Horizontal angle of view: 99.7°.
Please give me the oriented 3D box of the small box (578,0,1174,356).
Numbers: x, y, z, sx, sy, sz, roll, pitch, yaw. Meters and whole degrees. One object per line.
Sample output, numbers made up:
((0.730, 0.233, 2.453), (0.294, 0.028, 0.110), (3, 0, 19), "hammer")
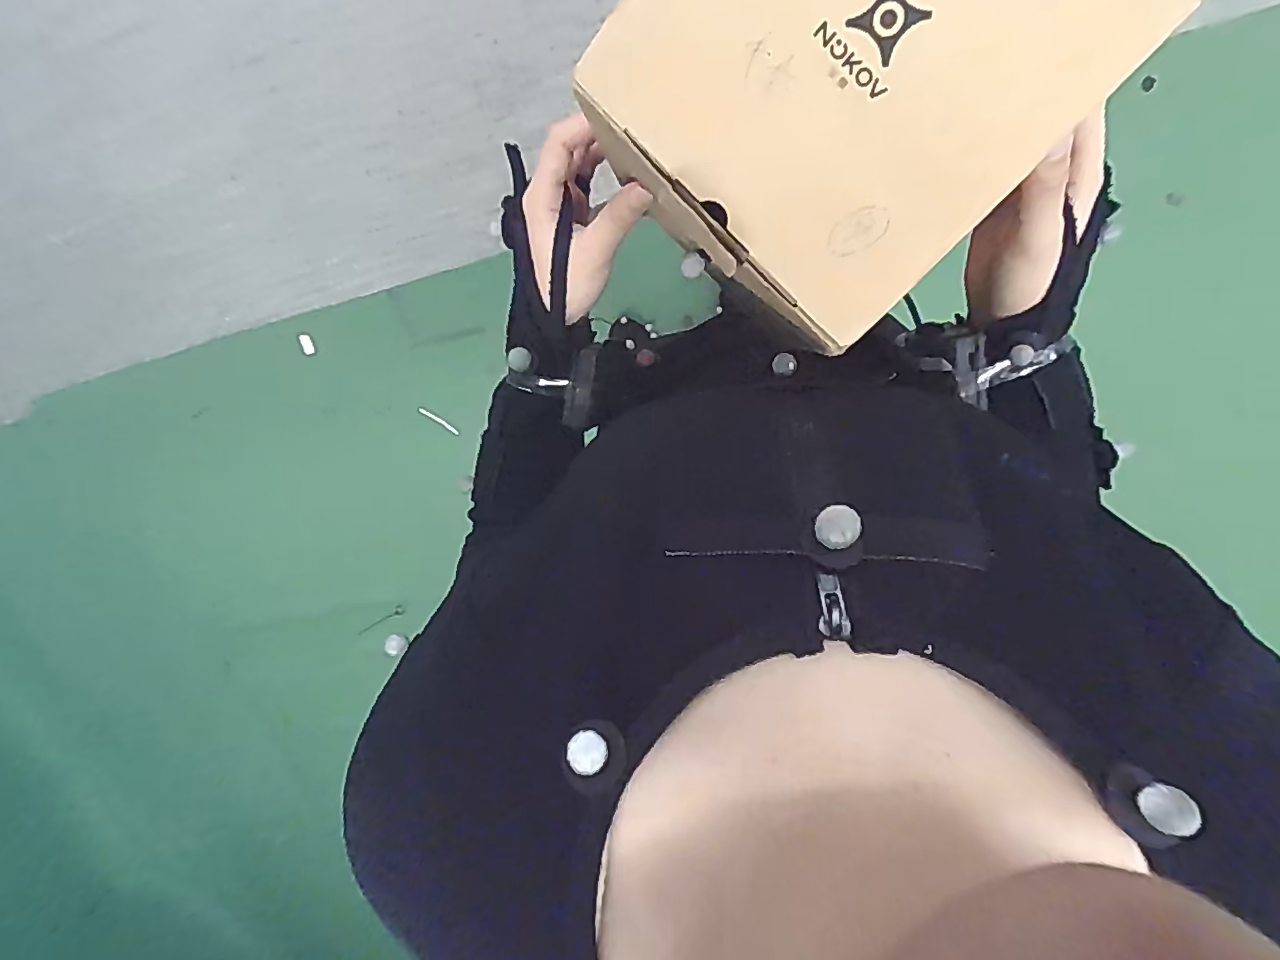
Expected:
((0.097, -0.191, 0.296), (0.168, 0.176, 0.179), (42, 106, -7), "small box")
